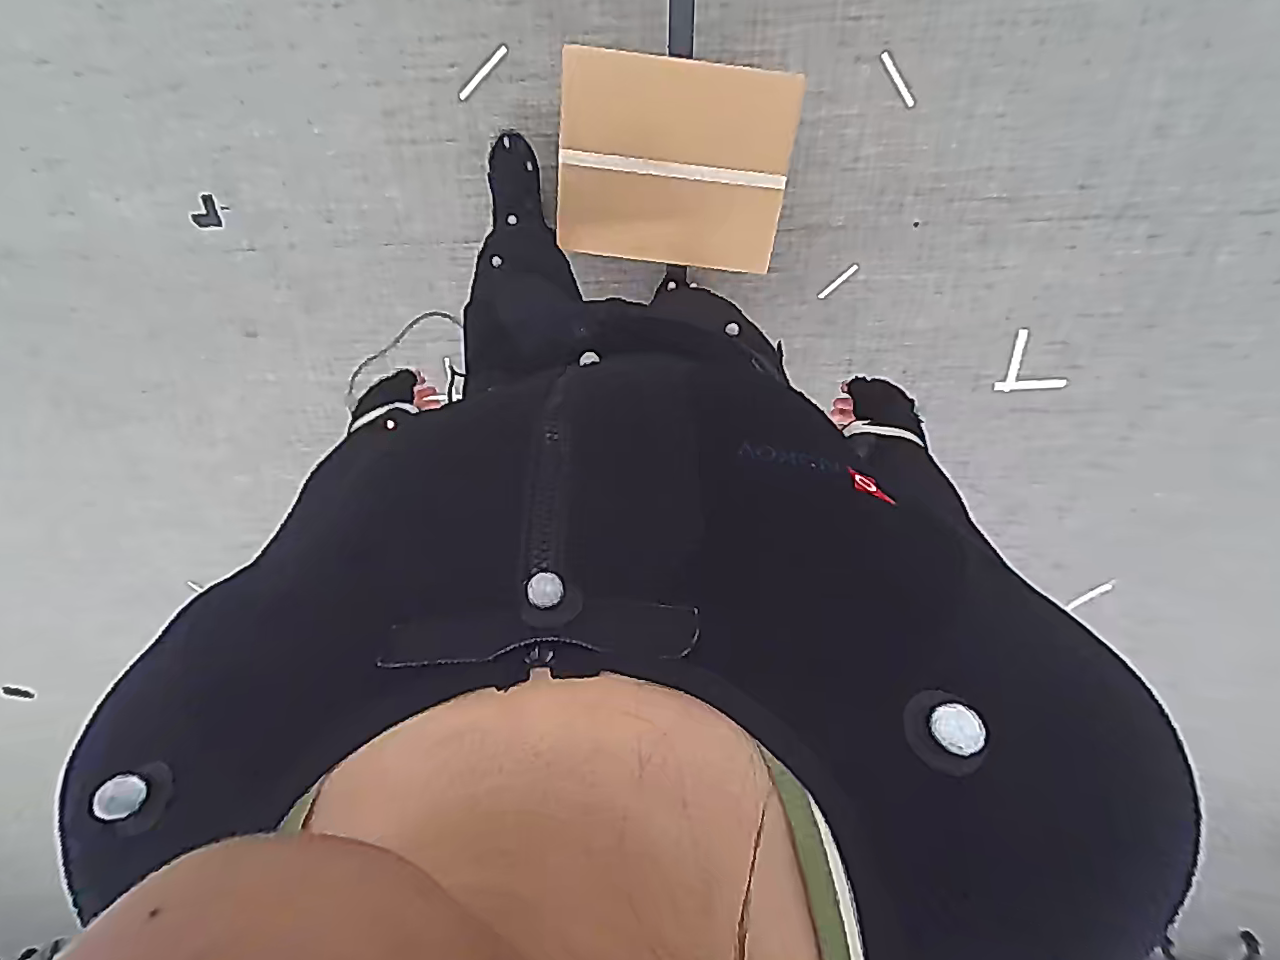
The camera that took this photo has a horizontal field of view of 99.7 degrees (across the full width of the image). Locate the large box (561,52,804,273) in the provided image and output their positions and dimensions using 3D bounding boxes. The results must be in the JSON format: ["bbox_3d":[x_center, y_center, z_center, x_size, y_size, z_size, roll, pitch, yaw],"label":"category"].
[{"bbox_3d":[0.067,-0.618,1.083,0.408,0.320,0.320,6,119,-1],"label":"large box"}]
